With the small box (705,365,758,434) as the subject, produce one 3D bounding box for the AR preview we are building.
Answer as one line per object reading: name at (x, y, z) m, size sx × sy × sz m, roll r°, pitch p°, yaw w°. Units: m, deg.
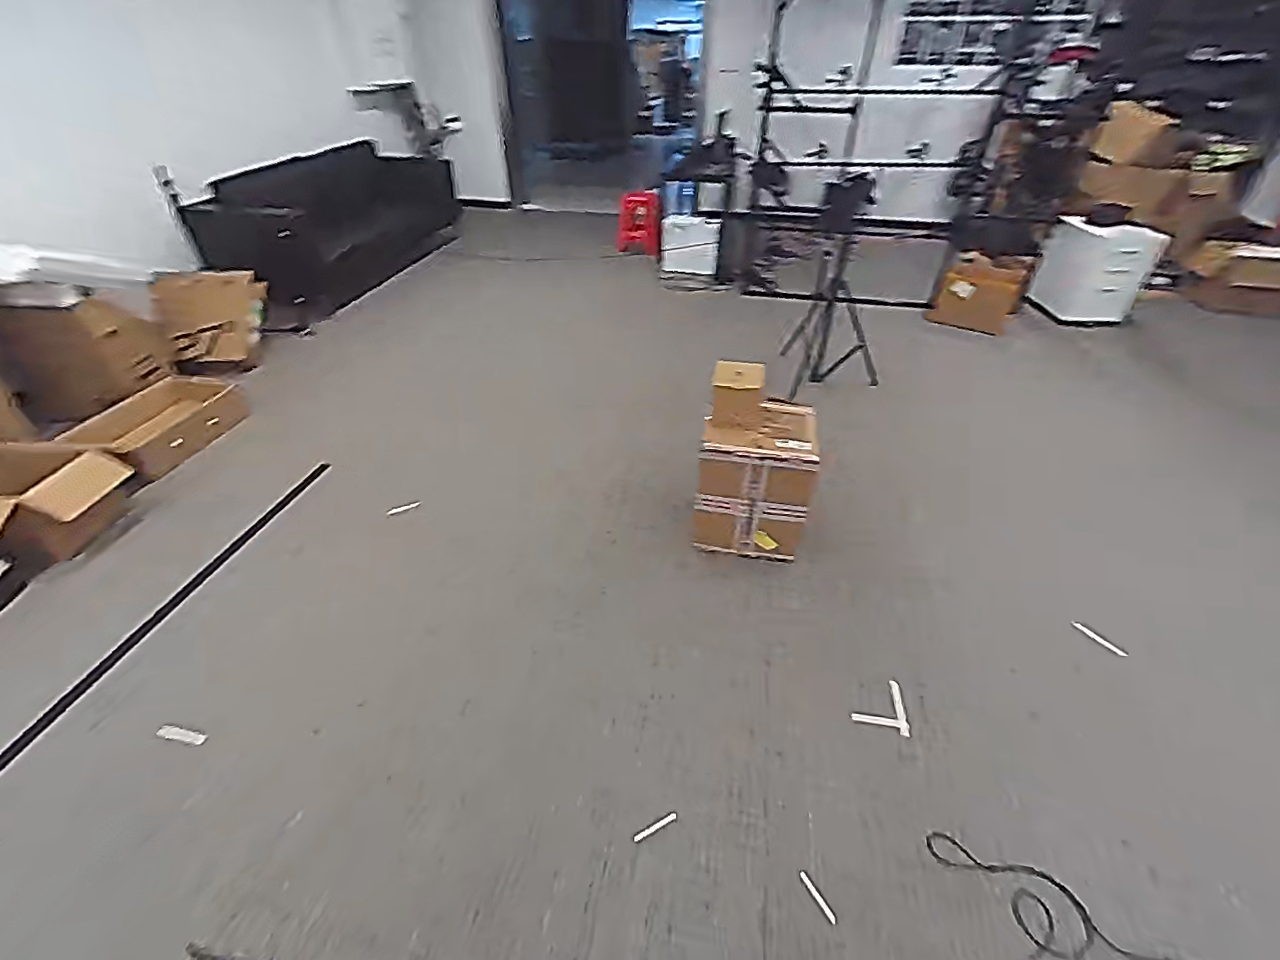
small box at (0.324, -0.287, 1.917) m, size 0.168 × 0.176 × 0.179 m, roll 6°, pitch 41°, yaw 10°
